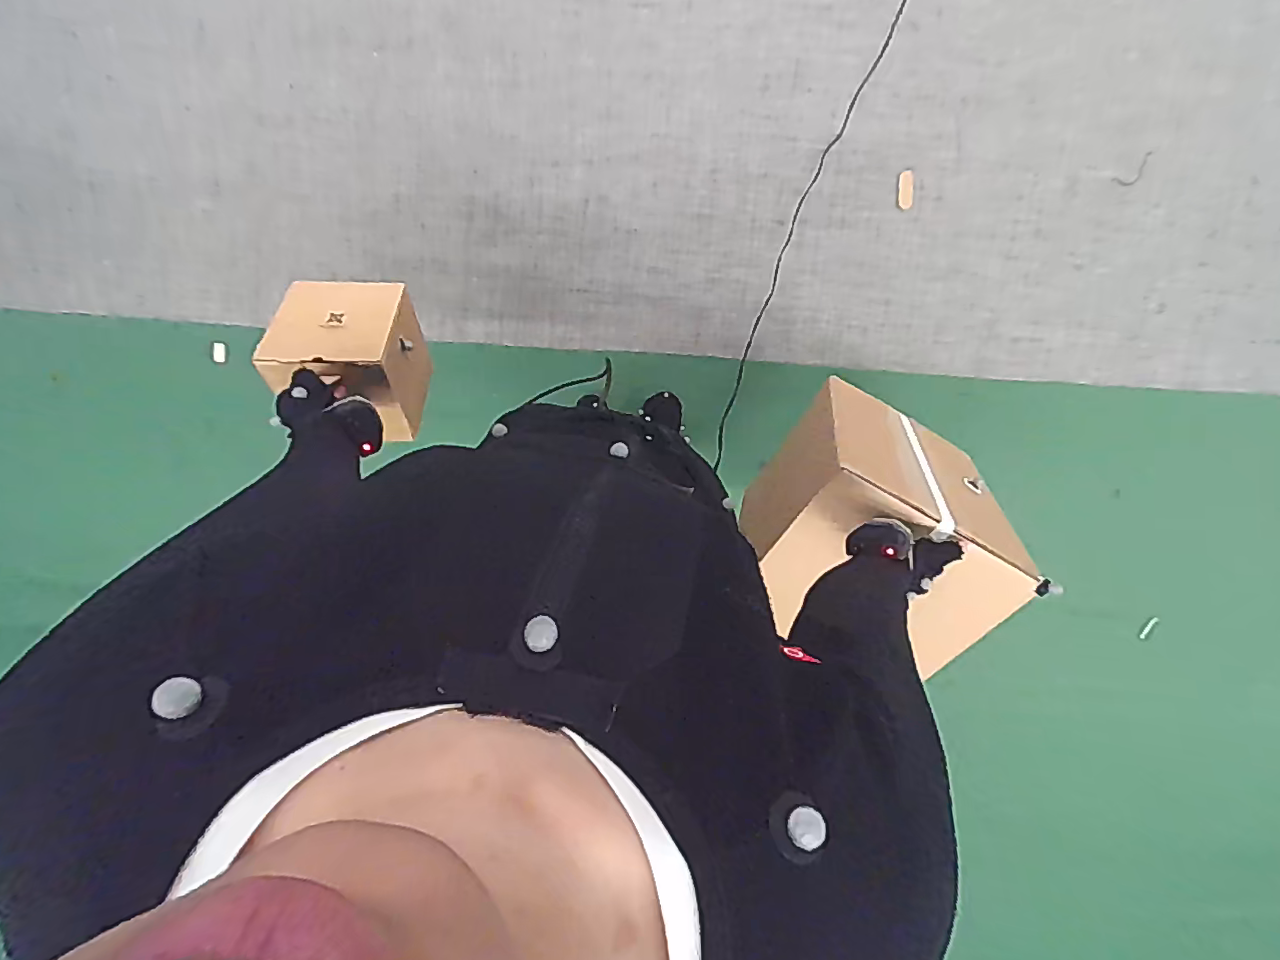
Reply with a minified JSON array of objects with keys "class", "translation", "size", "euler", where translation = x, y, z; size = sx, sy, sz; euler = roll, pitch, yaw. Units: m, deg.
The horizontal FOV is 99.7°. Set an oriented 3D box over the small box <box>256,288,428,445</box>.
[{"class":"small box","translation":[-0.440,-0.174,0.837],"size":[0.168,0.179,0.176],"euler":[-2,145,-5]}]
